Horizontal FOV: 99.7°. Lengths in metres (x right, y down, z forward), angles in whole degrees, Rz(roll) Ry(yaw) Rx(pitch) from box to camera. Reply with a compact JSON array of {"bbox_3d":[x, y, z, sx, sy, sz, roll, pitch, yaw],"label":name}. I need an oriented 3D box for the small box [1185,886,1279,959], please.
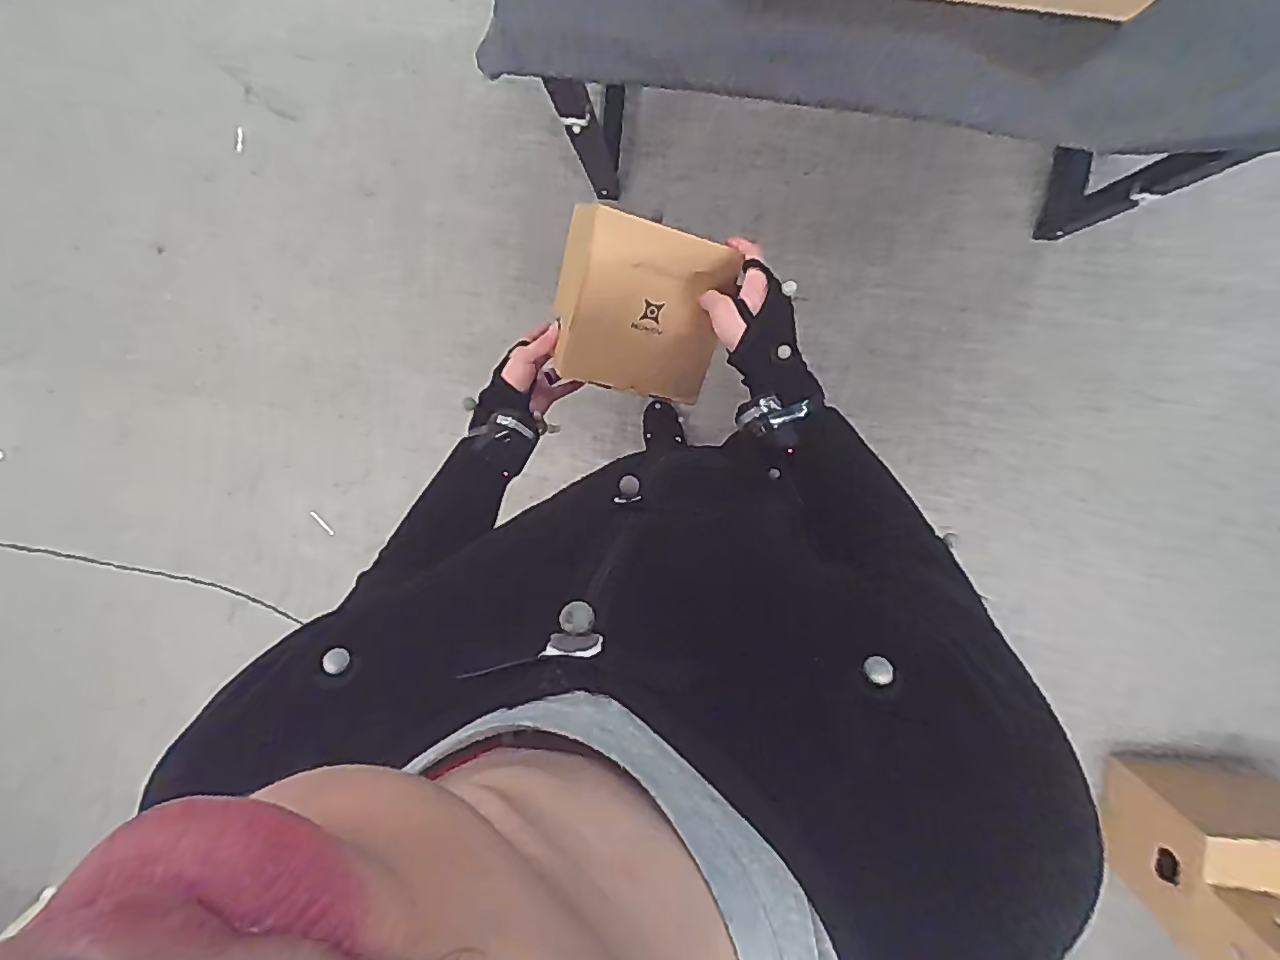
[{"bbox_3d":[1.398,1.065,1.216,0.168,0.176,0.179,7,100,2],"label":"small box"}]
